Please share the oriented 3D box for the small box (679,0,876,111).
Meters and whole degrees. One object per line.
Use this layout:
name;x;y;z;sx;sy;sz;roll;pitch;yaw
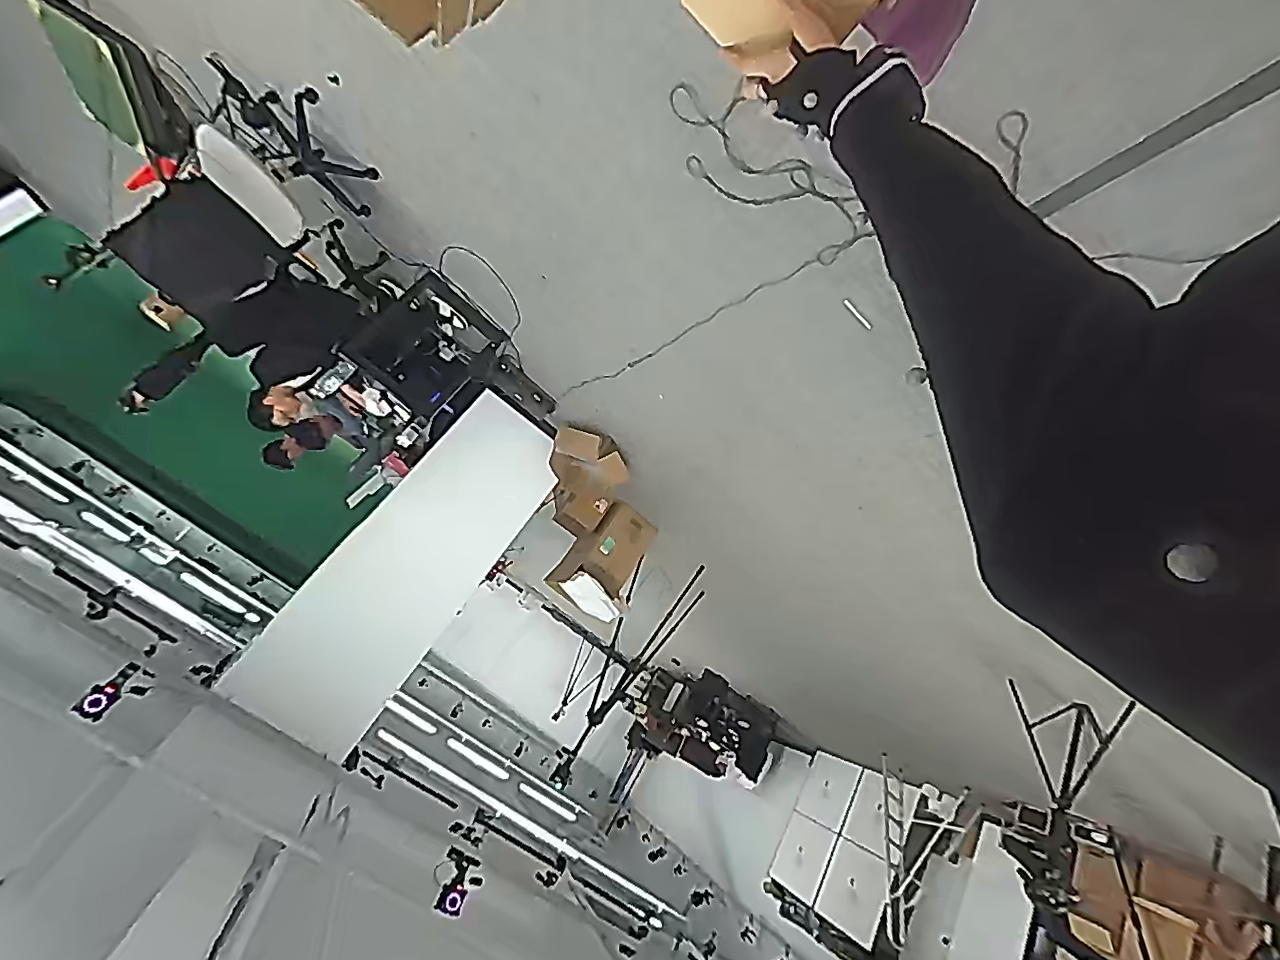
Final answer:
small box;0.178;-0.554;0.568;0.168;0.176;0.179;39;155;-12
